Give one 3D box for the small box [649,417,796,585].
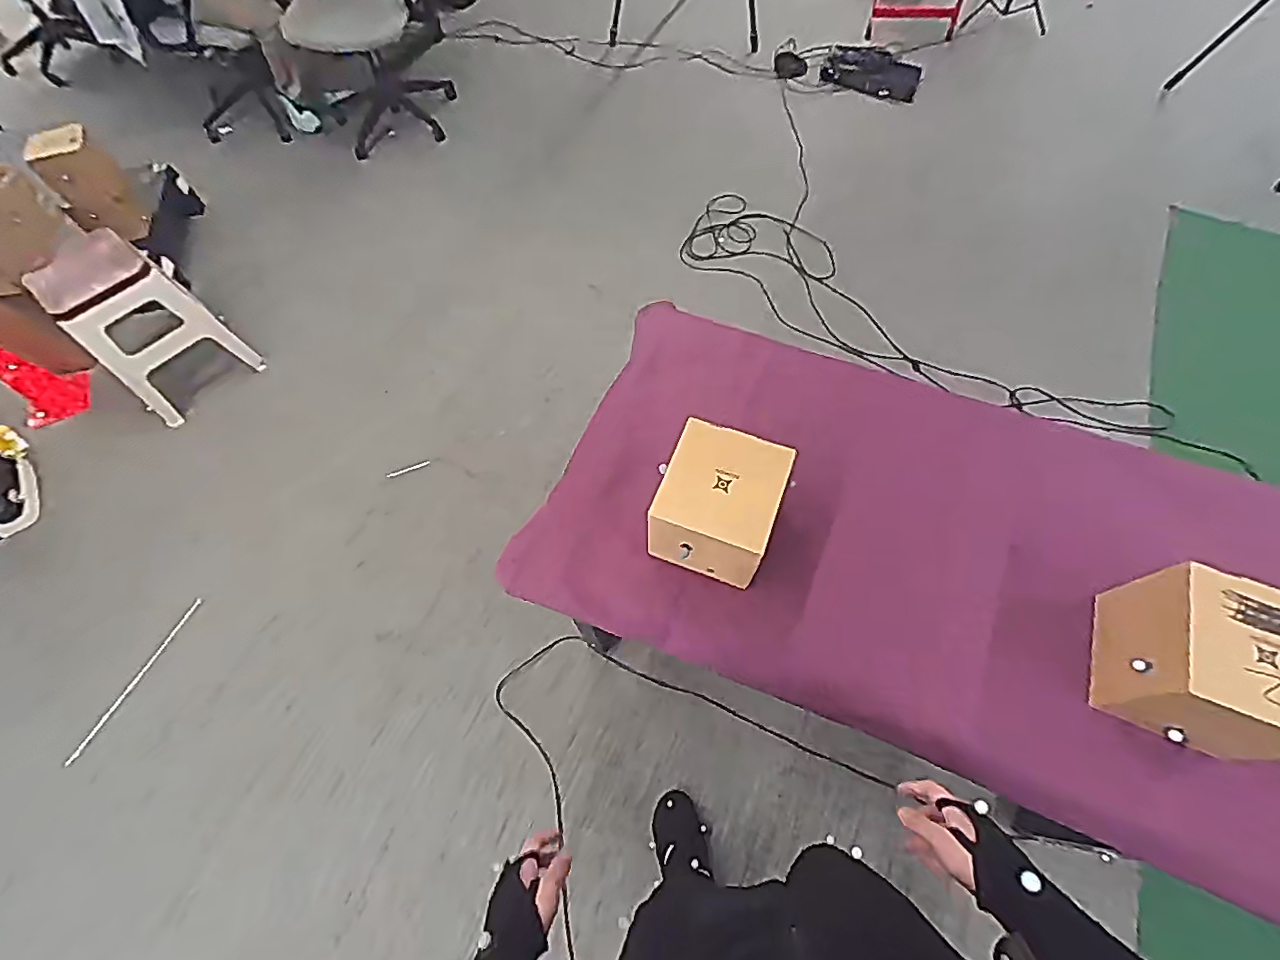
[{"bbox_3d":[0.122,0.039,0.828,0.168,0.176,0.179,19,63,11],"label":"small box"}]
